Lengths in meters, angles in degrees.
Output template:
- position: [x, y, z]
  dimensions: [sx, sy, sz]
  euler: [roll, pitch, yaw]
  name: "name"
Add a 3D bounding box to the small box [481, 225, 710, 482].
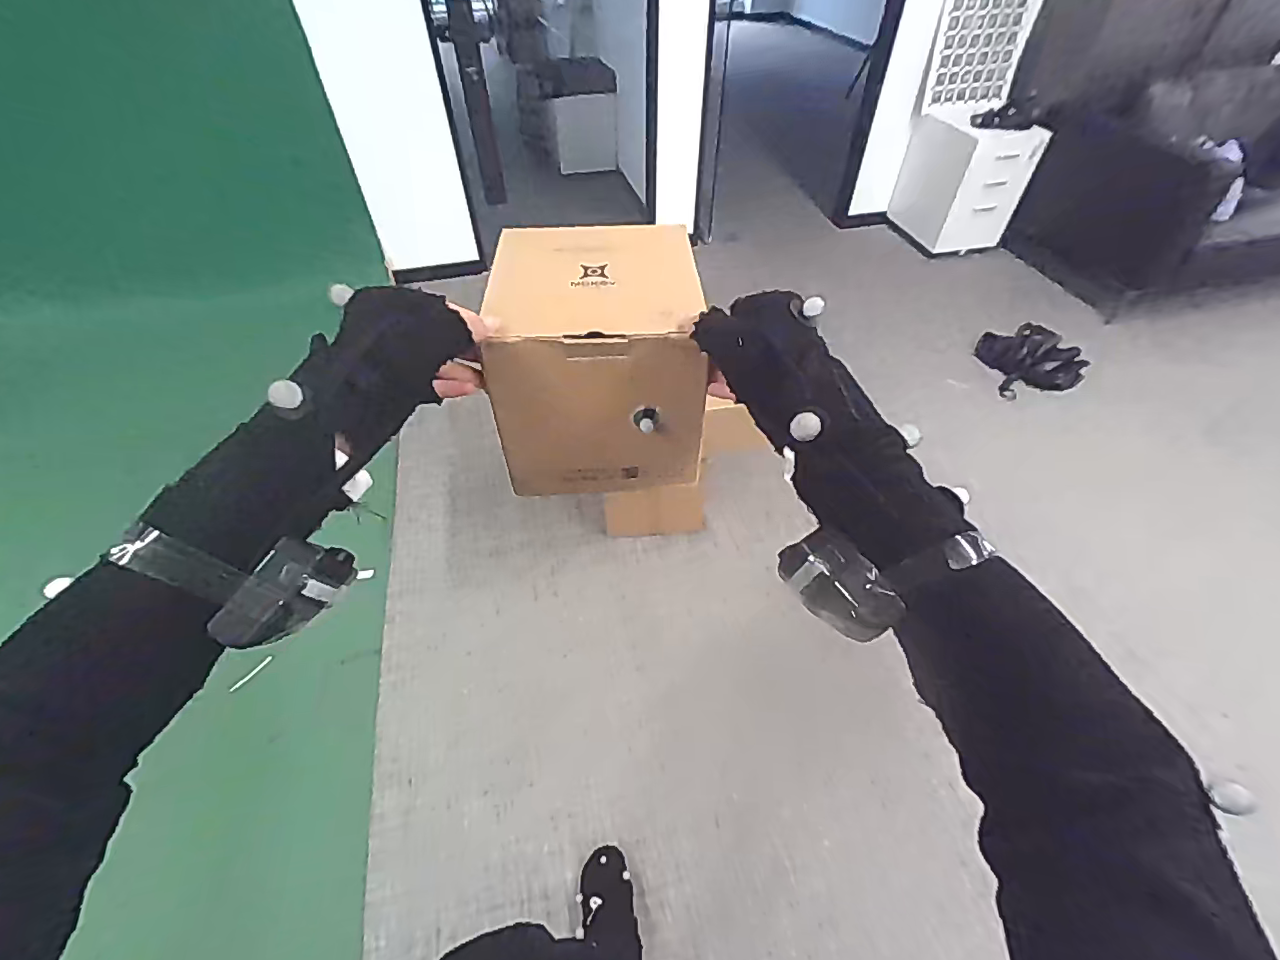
- position: [-0.034, -0.109, 0.491]
  dimensions: [0.168, 0.176, 0.179]
  euler: [-2, 47, -3]
  name: "small box"
